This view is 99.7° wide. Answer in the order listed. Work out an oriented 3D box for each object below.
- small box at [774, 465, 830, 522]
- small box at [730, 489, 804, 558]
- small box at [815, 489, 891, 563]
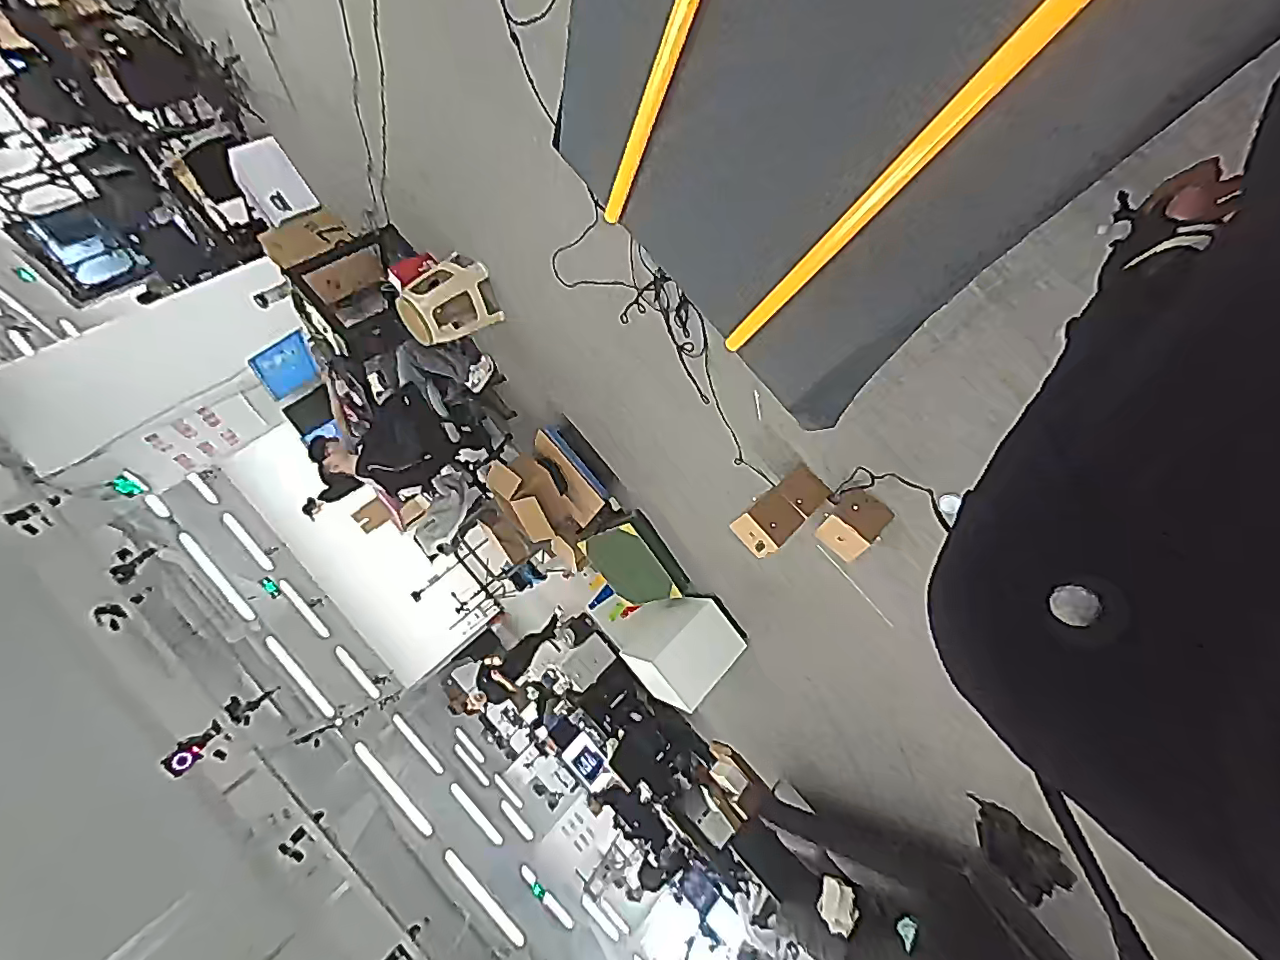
[{"bbox_3d":[0.605,0.073,2.104,0.168,0.176,0.179,45,155,11],"label":"small box"},{"bbox_3d":[0.482,0.163,2.040,0.179,0.176,0.168,48,154,6],"label":"small box"},{"bbox_3d":[0.776,0.164,1.957,0.168,0.176,0.179,43,154,16],"label":"small box"}]
